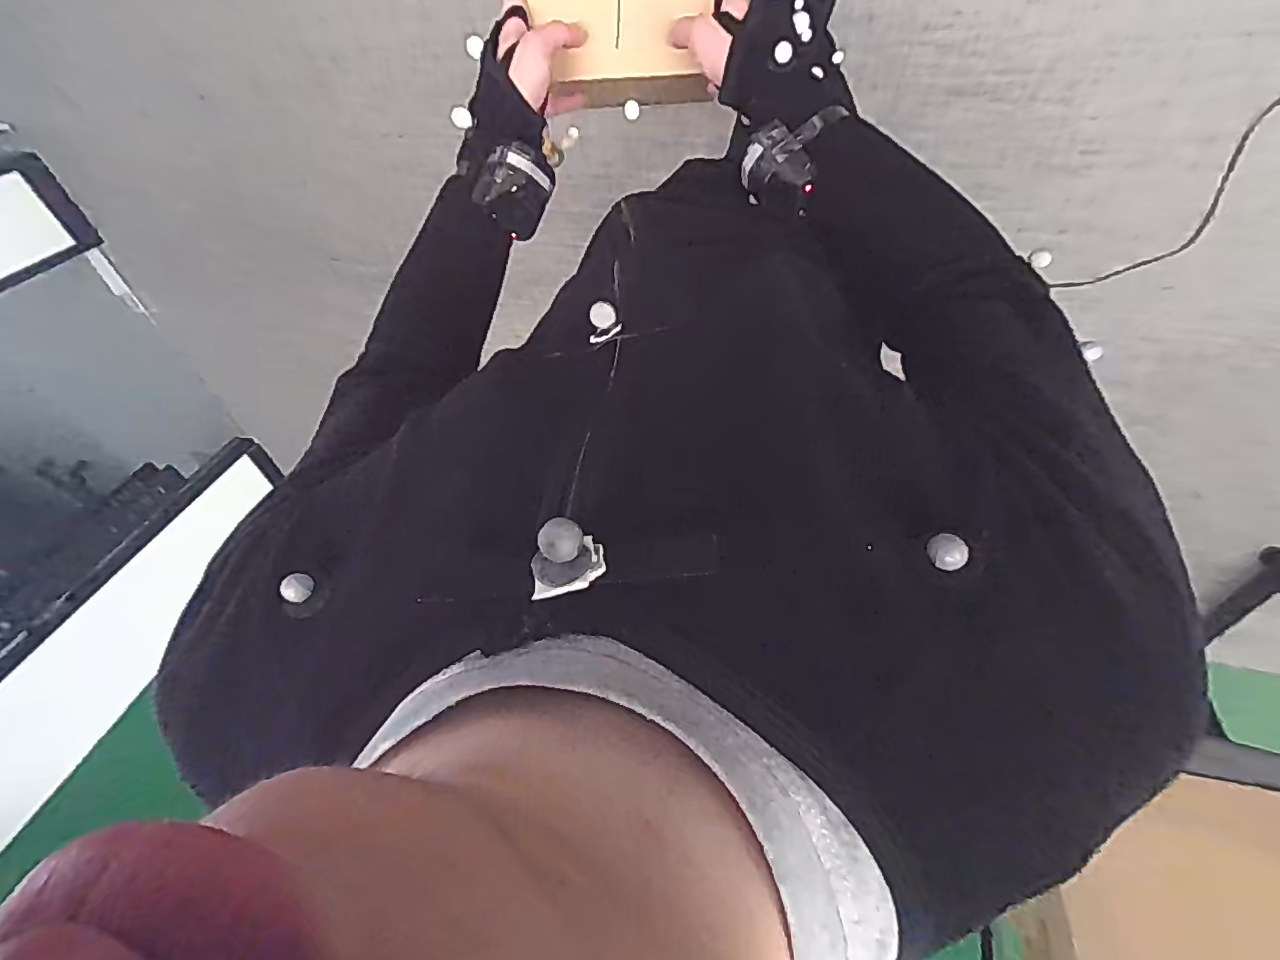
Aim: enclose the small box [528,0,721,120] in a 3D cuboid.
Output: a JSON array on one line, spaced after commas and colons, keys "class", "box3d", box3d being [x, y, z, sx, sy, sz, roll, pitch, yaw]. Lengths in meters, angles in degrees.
[{"class": "small box", "box3d": [-0.008, -0.473, 0.531, 0.168, 0.176, 0.179, 3, 117, 9]}]
